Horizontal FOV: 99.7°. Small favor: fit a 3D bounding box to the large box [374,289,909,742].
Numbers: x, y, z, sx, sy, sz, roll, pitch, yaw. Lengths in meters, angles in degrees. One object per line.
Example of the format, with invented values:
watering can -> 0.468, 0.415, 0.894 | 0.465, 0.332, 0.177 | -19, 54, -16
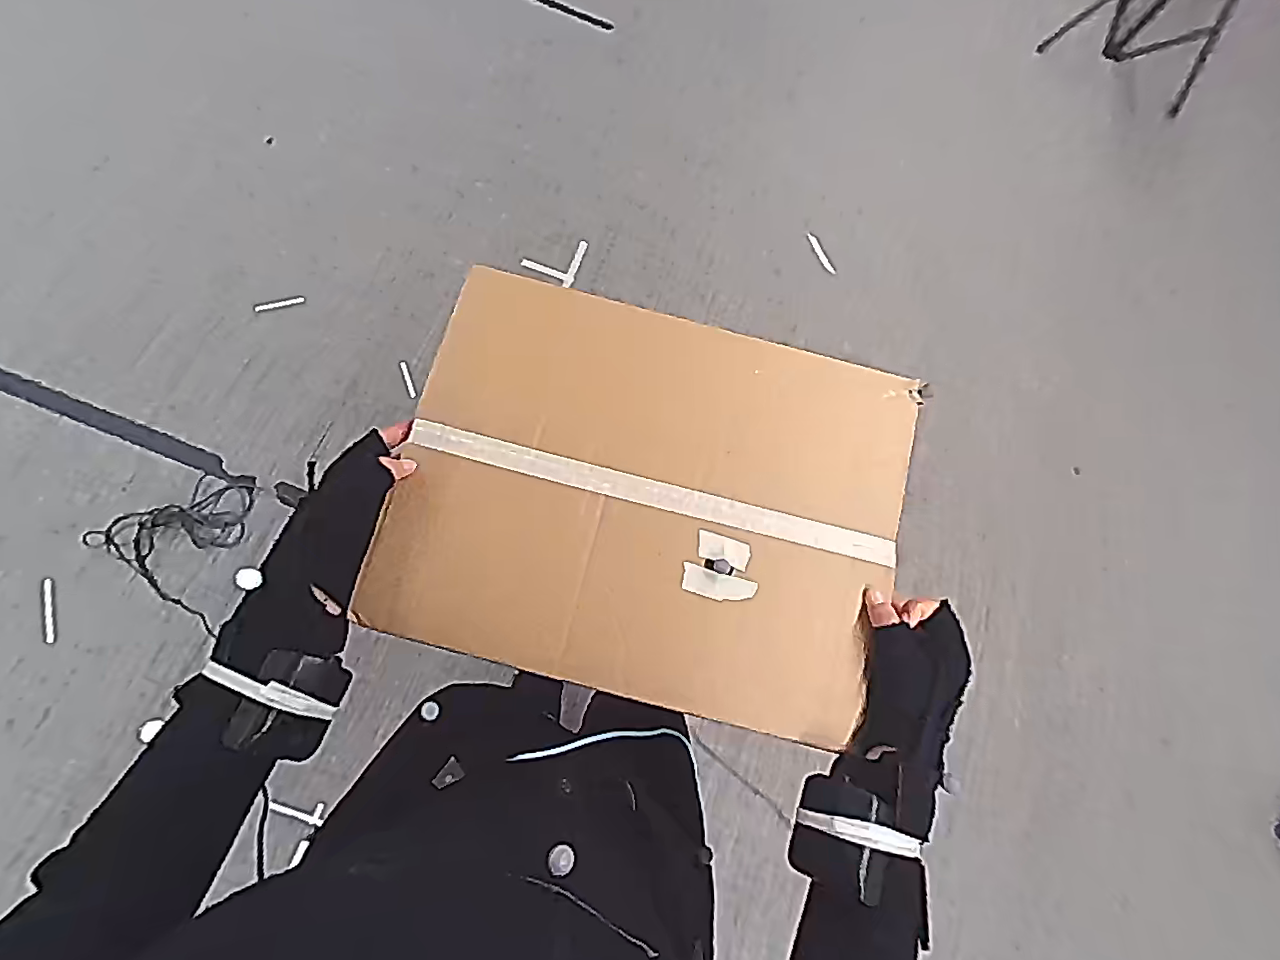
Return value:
large box -> 0.006, 0.047, 0.599 | 0.408, 0.320, 0.320 | 15, 79, 0
